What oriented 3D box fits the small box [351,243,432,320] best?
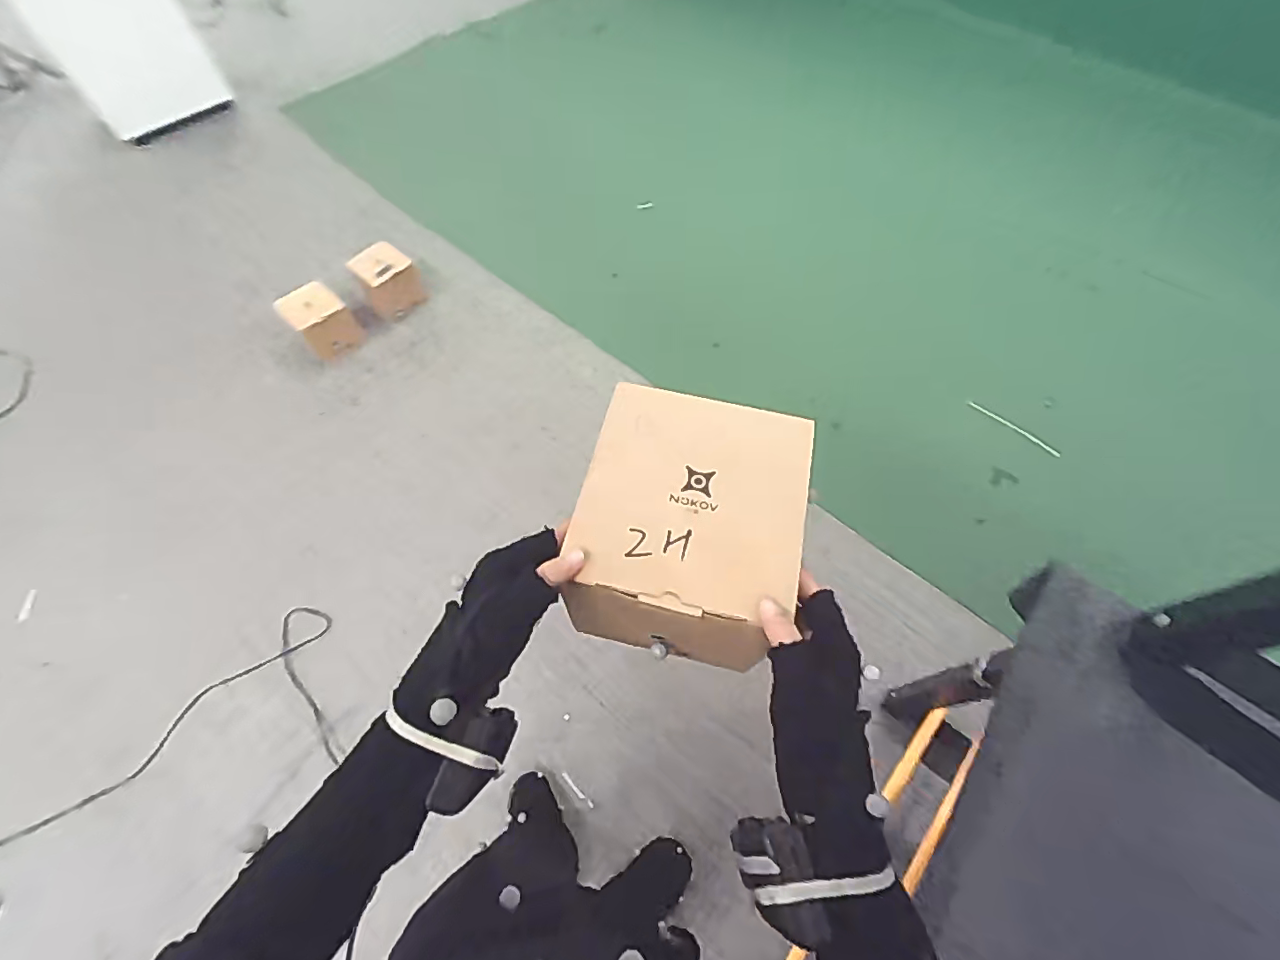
[{"bbox_3d":[-0.875,-0.699,1.927,0.179,0.176,0.168,37,67,18],"label":"small box"}]

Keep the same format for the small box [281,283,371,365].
[{"bbox_3d":[-1.056,-0.524,1.831,0.179,0.176,0.168,40,68,19],"label":"small box"}]
